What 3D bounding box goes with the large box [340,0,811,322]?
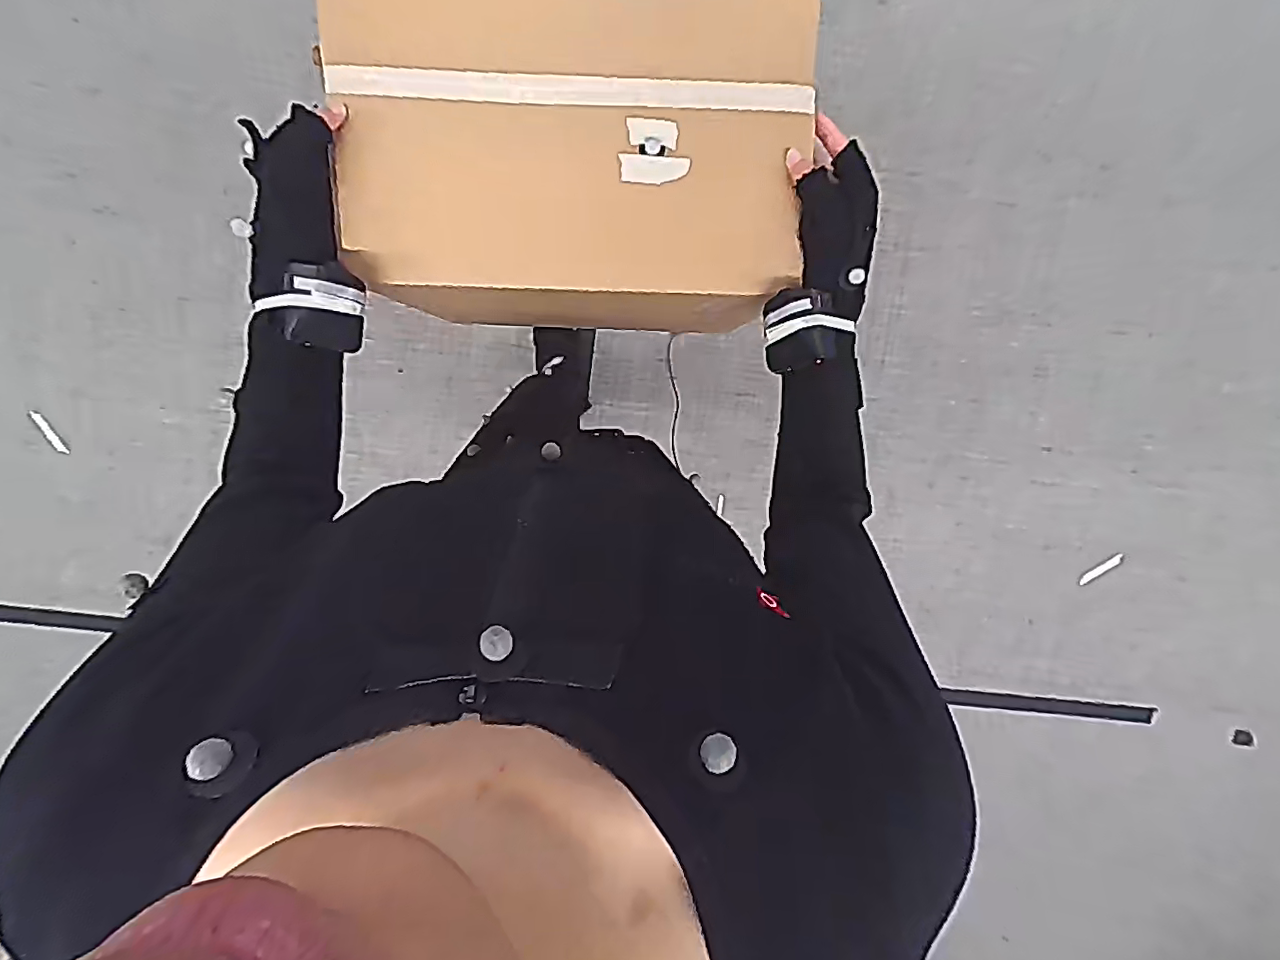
[{"bbox_3d":[-0.060,-0.357,0.614,0.408,0.320,0.320,1,101,-3],"label":"large box"}]
